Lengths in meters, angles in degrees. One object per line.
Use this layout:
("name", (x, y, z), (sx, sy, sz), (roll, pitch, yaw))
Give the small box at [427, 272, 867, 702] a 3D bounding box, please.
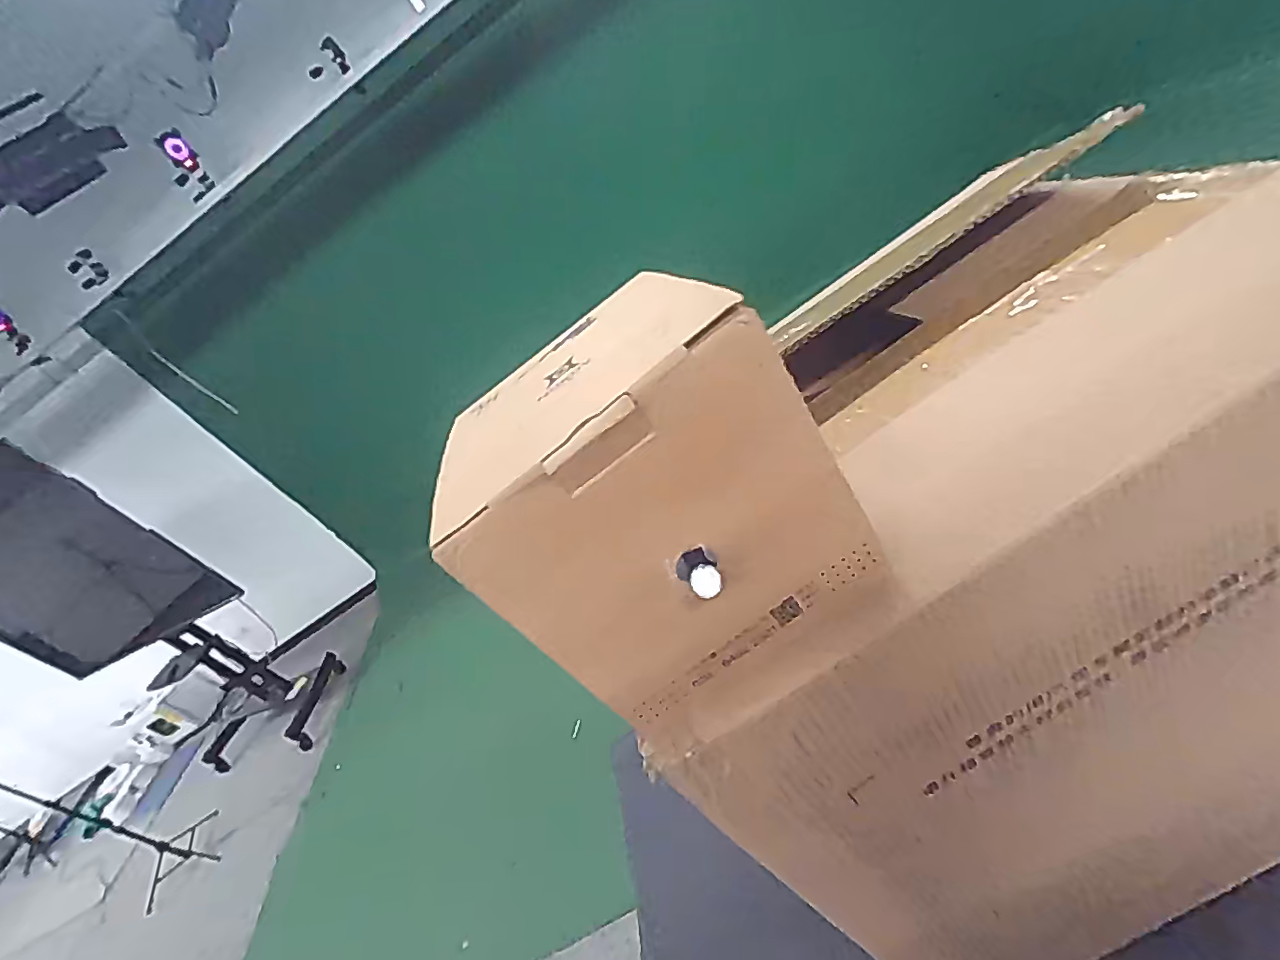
("small box", (0.002, 0.004, 0.328), (0.168, 0.176, 0.179), (-37, 29, 4))
